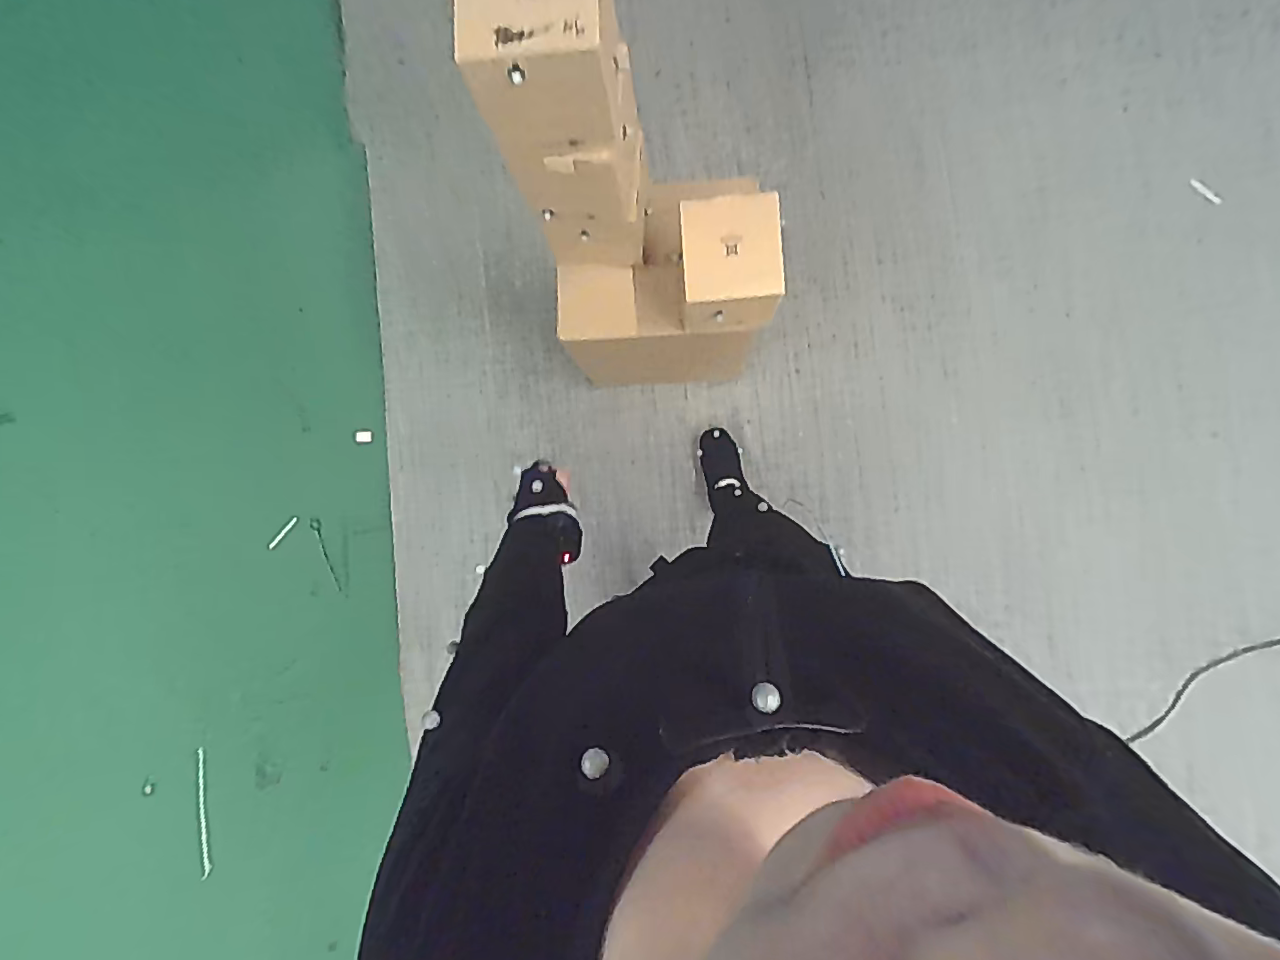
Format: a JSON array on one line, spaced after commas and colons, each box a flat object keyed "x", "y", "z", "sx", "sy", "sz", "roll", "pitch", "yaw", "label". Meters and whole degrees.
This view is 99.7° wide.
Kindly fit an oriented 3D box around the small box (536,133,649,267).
[{"x": -0.081, "y": -0.515, "z": 1.008, "sx": 0.179, "sy": 0.176, "sz": 0.168, "roll": 4, "pitch": 87, "yaw": 5, "label": "small box"}]

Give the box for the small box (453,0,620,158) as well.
[{"x": -0.119, "y": -0.546, "z": 0.682, "sx": 0.168, "sy": 0.176, "sz": 0.179, "roll": -1, "pitch": 85, "yaw": 6, "label": "small box"}]

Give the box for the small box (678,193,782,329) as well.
[{"x": 0.158, "y": -0.382, "z": 0.977, "sx": 0.168, "sy": 0.176, "sz": 0.179, "roll": -4, "pitch": 86, "yaw": 5, "label": "small box"}]

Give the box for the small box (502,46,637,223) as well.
[{"x": -0.100, "y": -0.528, "z": 0.845, "sx": 0.168, "sy": 0.176, "sz": 0.179, "roll": 6, "pitch": 86, "yaw": 6, "label": "small box"}]
